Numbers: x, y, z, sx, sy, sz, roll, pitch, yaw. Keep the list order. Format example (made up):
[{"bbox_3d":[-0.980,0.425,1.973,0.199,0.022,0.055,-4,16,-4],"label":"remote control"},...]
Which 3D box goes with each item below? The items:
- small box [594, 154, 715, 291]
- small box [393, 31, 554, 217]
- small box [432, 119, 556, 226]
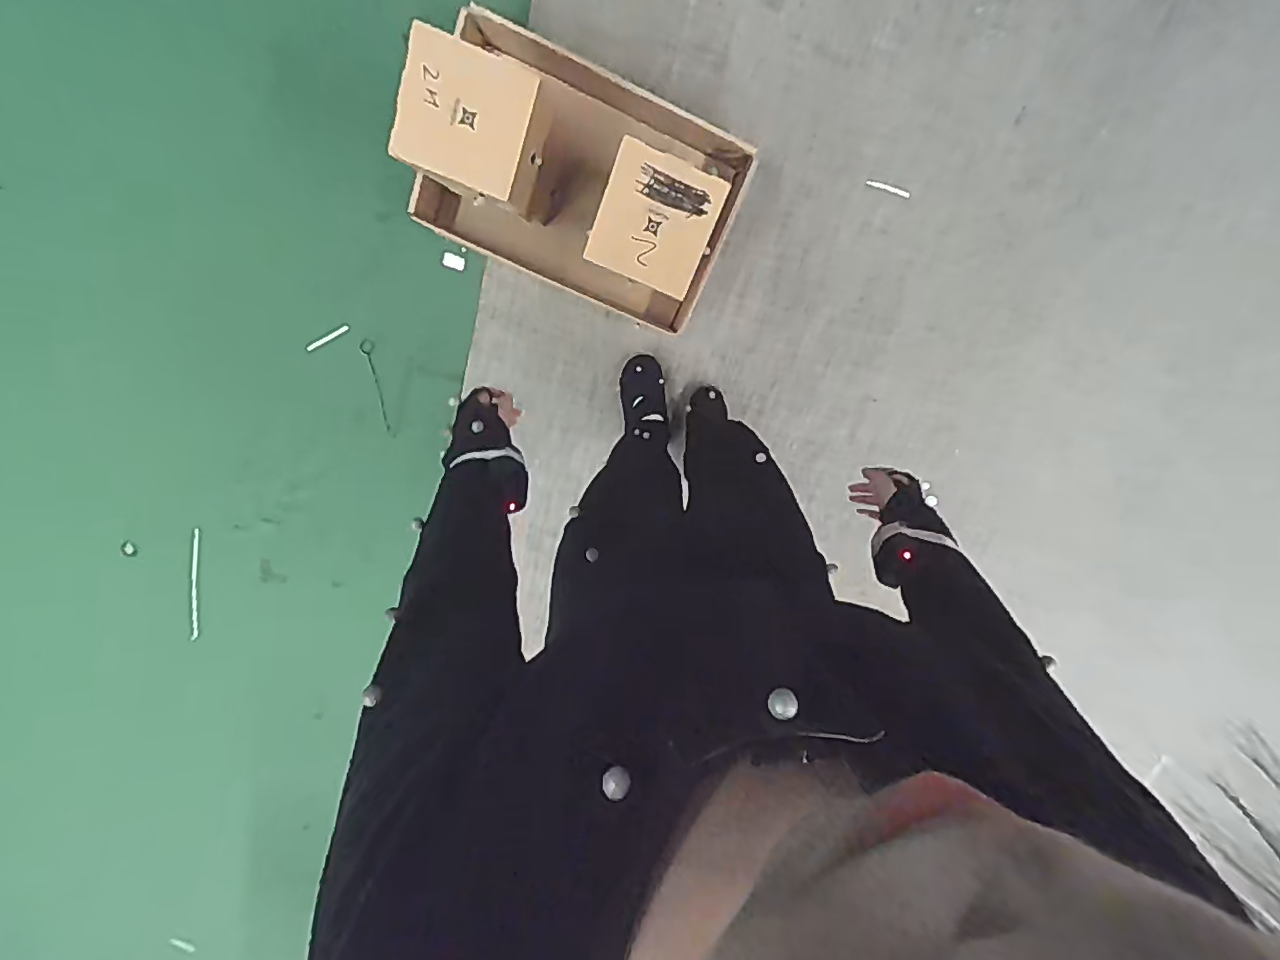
[{"bbox_3d":[0.024,-0.468,1.015,0.168,0.176,0.179,20,107,-7],"label":"small box"},{"bbox_3d":[-0.241,-0.518,0.821,0.179,0.176,0.168,20,108,-9],"label":"small box"},{"bbox_3d":[-0.257,-0.582,0.973,0.168,0.176,0.179,21,108,-9],"label":"small box"}]
